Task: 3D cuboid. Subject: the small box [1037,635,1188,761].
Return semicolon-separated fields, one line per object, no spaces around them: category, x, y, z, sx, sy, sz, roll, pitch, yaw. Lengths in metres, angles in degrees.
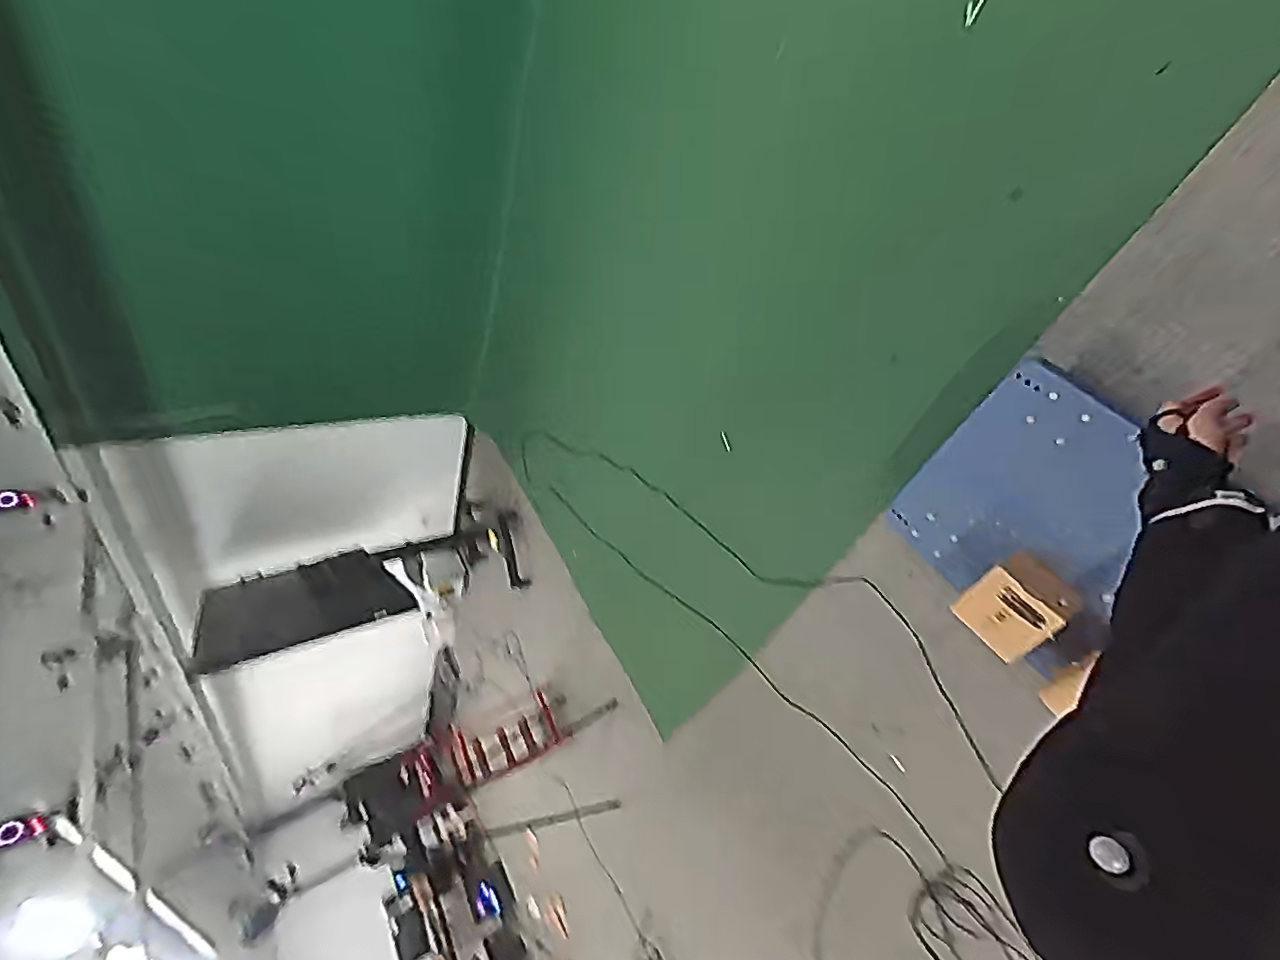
small box;1.020;0.463;1.166;0.168;0.176;0.179;55;139;29
